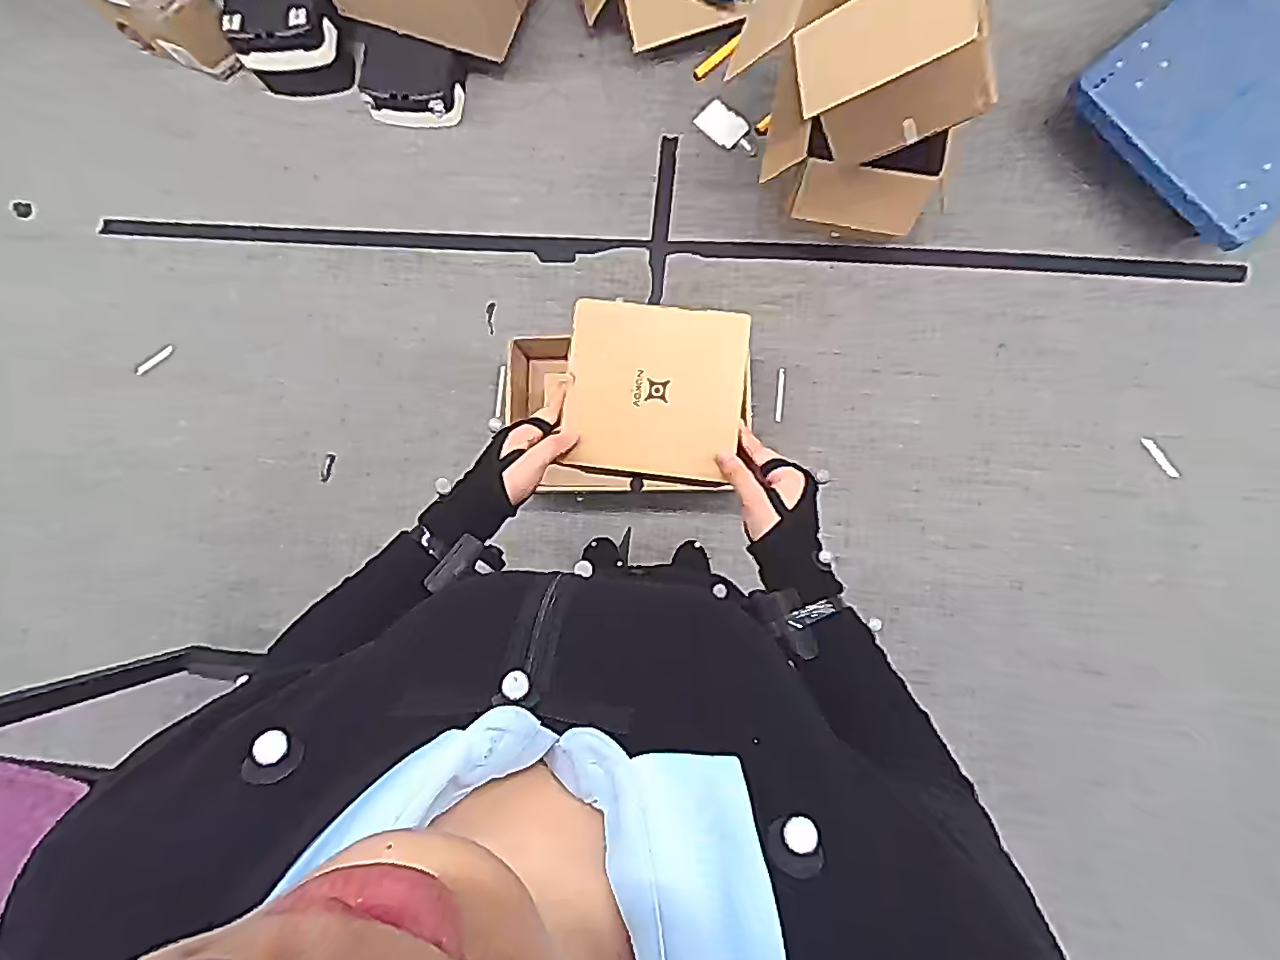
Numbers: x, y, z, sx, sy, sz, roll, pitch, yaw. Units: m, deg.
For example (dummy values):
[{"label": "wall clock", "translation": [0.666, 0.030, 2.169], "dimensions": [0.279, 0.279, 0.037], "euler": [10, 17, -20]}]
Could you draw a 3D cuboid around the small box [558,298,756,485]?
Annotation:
[{"label": "small box", "translation": [0.022, -0.086, 0.600], "dimensions": [0.179, 0.176, 0.168], "euler": [7, 89, 5]}]
